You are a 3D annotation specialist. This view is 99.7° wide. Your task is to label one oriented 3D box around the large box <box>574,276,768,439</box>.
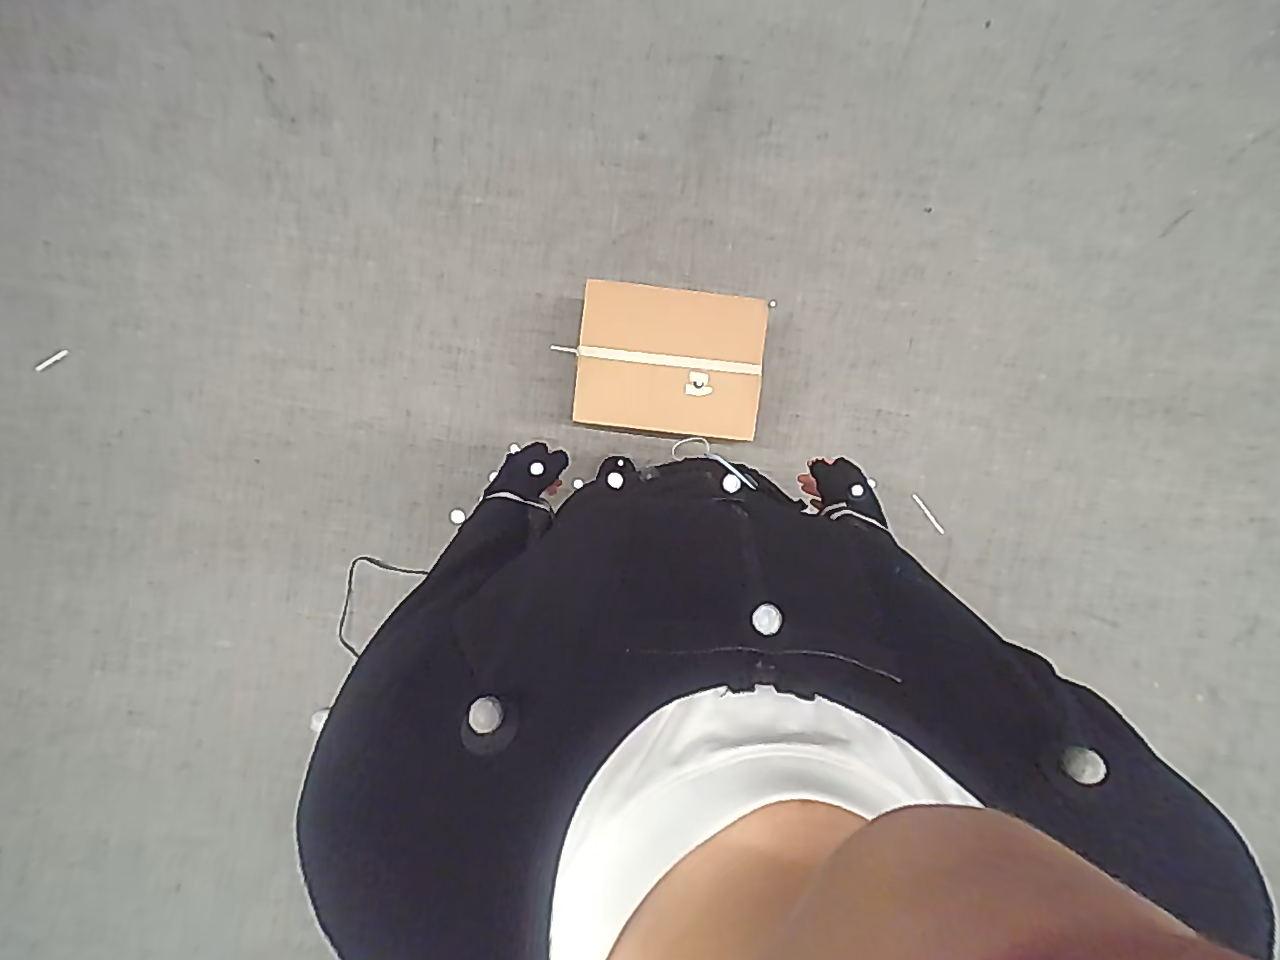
[{"bbox_3d":[0.062,-0.277,1.324,0.408,0.320,0.320,6,93,-2],"label":"large box"}]
